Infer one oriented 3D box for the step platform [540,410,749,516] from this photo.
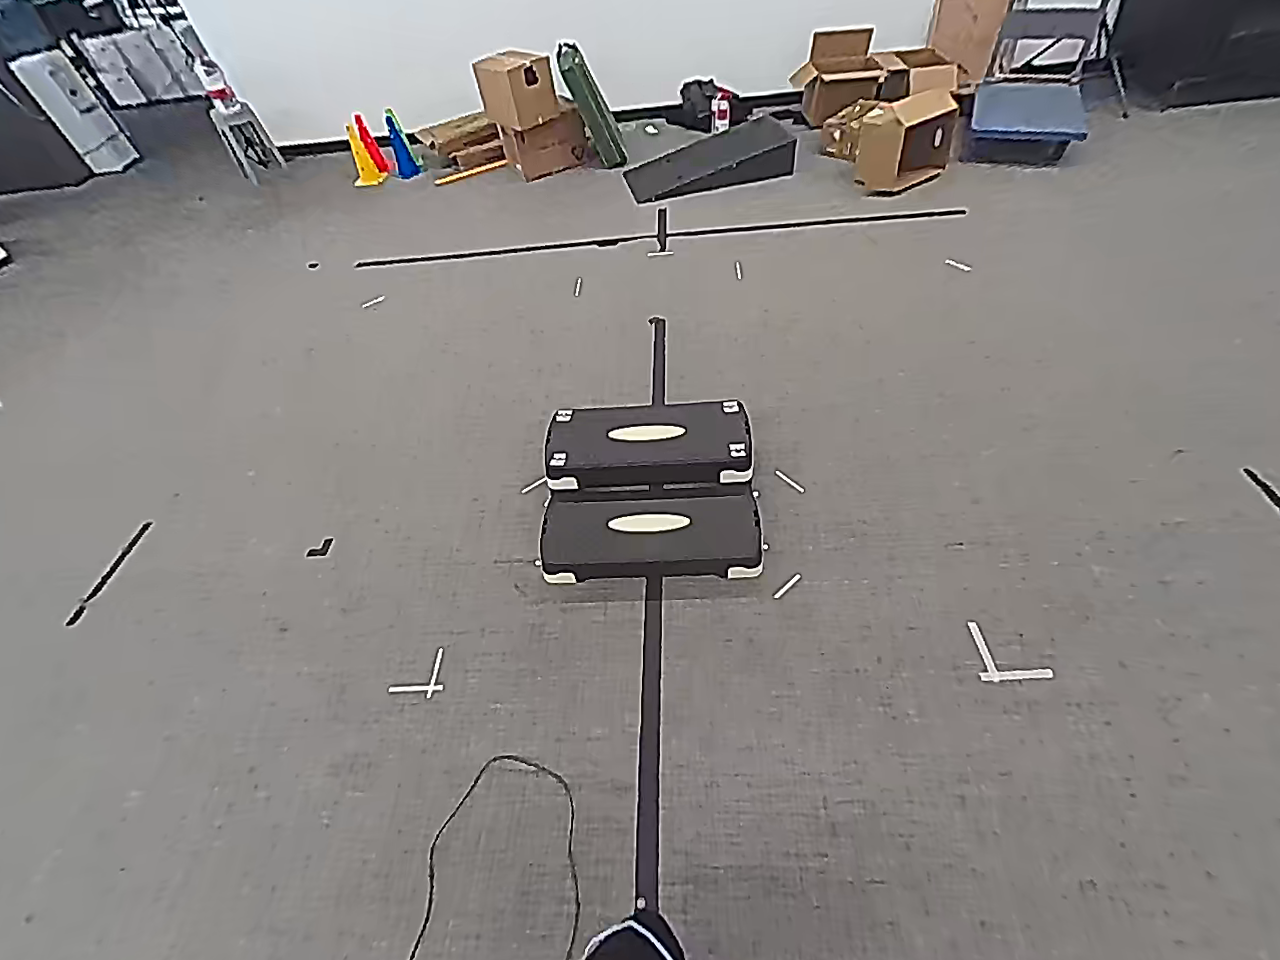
[{"bbox_3d":[0.014,-0.062,1.803,0.684,0.204,0.286,-3,50,4],"label":"step platform"}]
